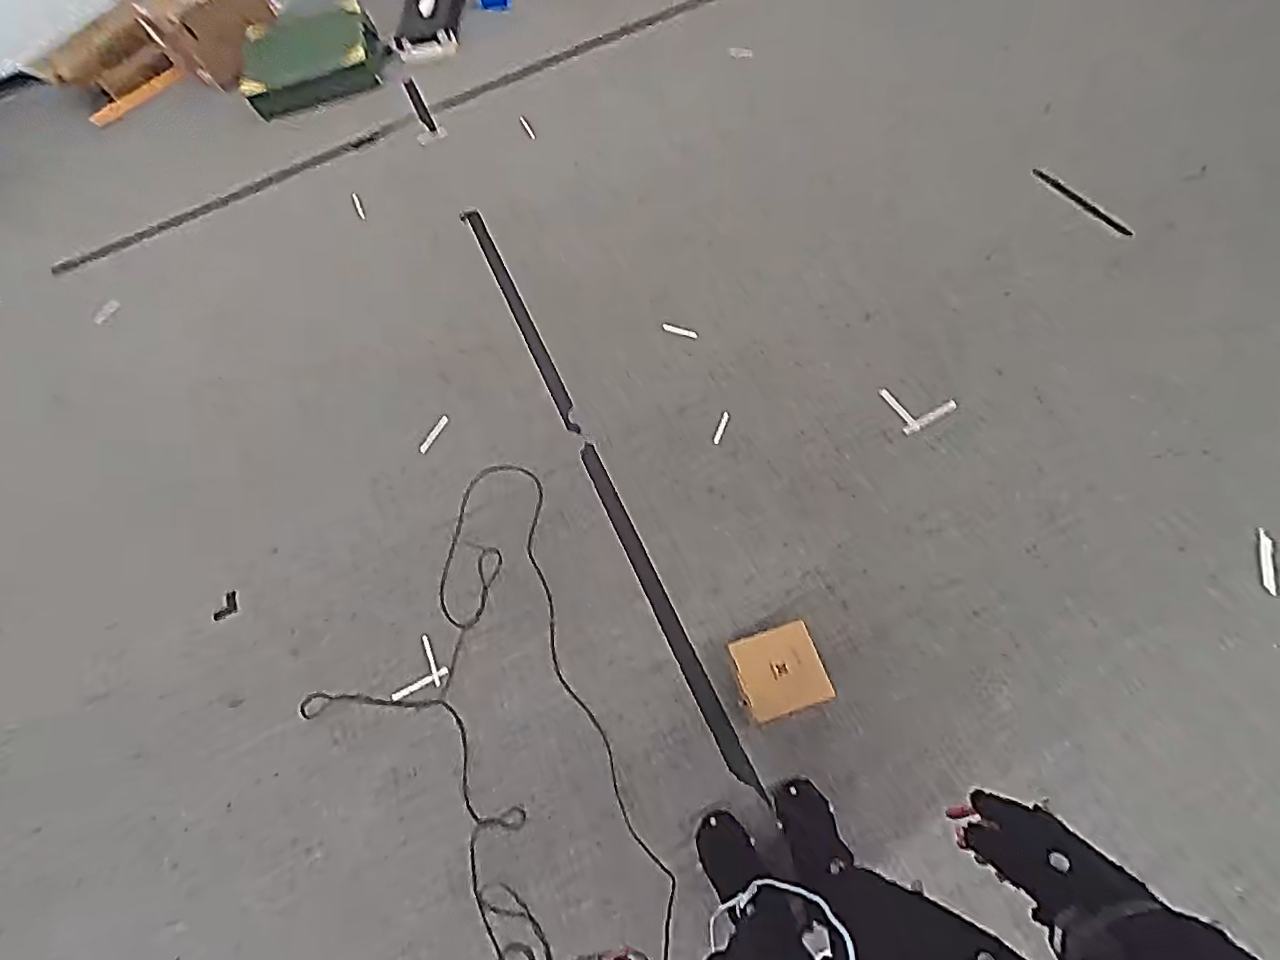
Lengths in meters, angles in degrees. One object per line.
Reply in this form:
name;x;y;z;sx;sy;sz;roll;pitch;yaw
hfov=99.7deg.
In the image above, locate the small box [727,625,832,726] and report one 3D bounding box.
small box;0.308;0.449;1.228;0.179;0.176;0.168;-18;63;-1
